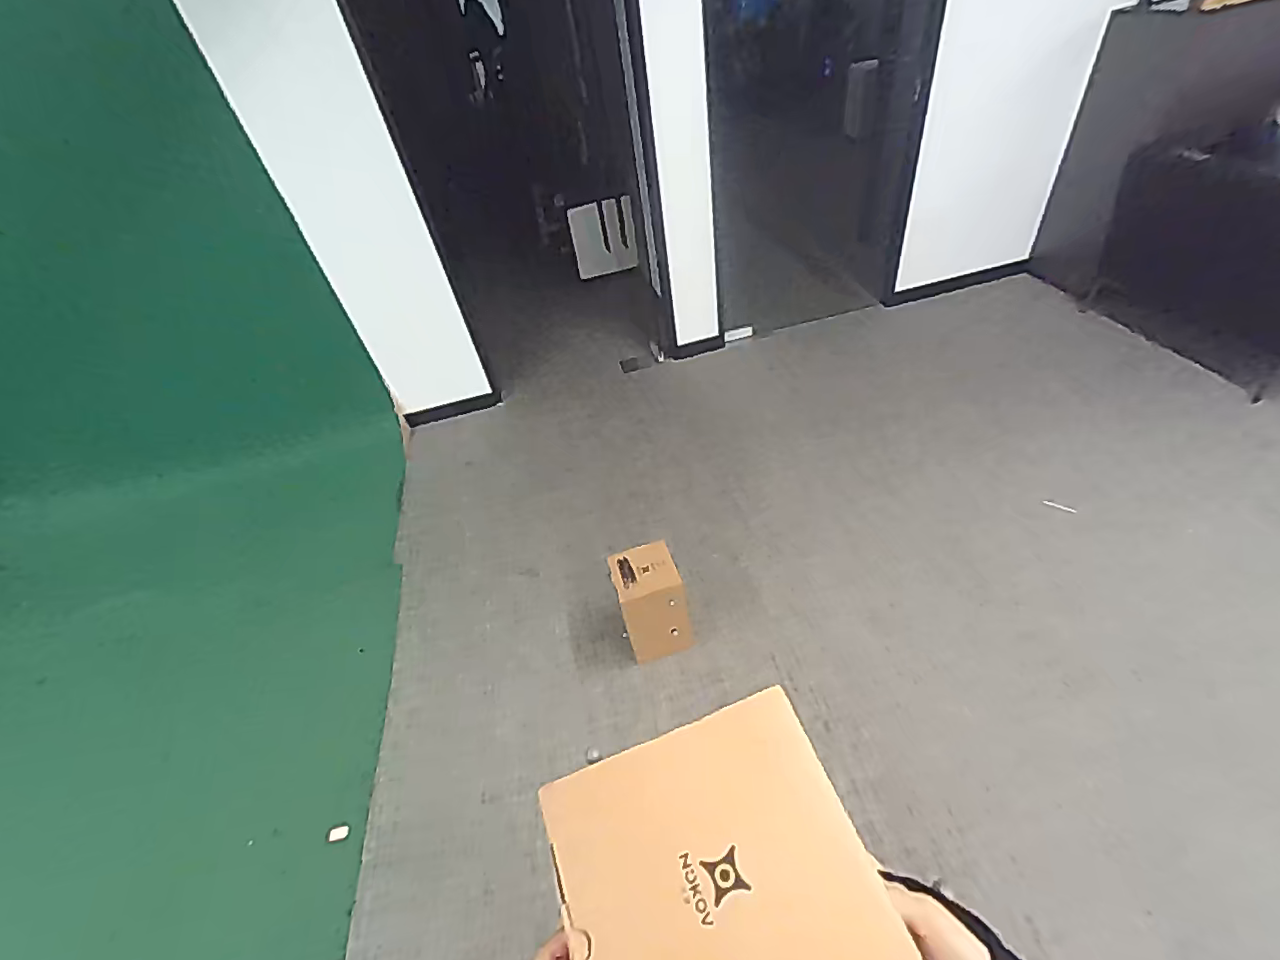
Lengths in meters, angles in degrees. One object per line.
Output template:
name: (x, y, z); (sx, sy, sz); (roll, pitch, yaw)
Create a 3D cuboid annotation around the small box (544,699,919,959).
small box: (0.049, 0.280, 0.380); (0.179, 0.176, 0.168); (-19, 58, -10)
